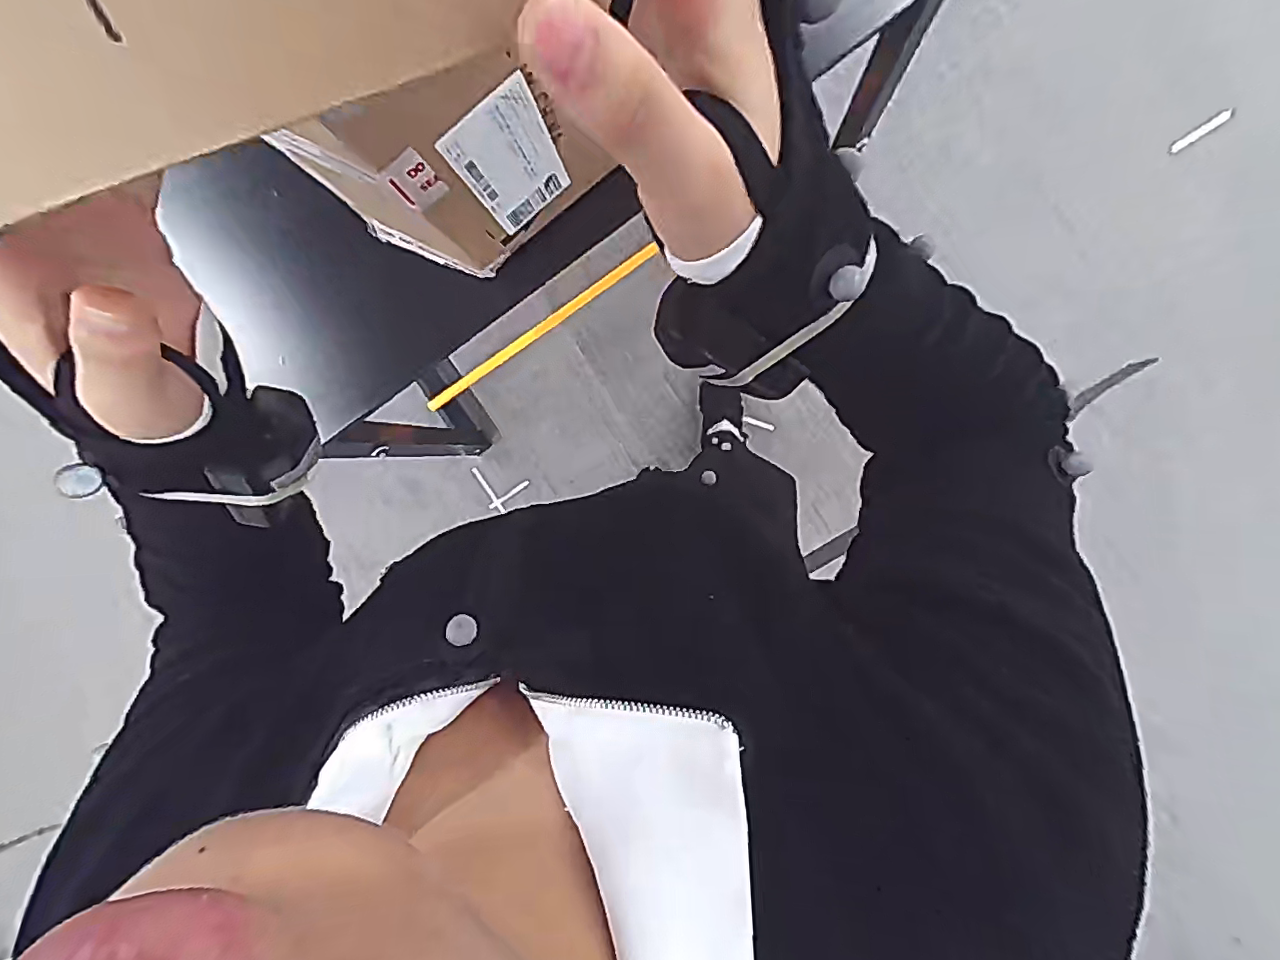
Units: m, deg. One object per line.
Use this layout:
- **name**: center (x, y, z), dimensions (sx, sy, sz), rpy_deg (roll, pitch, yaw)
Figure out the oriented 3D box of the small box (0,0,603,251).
- **small box**: center (-0.115, -0.186, 0.116), dimensions (0.168, 0.179, 0.176), rpy_deg (-14, 48, 5)
